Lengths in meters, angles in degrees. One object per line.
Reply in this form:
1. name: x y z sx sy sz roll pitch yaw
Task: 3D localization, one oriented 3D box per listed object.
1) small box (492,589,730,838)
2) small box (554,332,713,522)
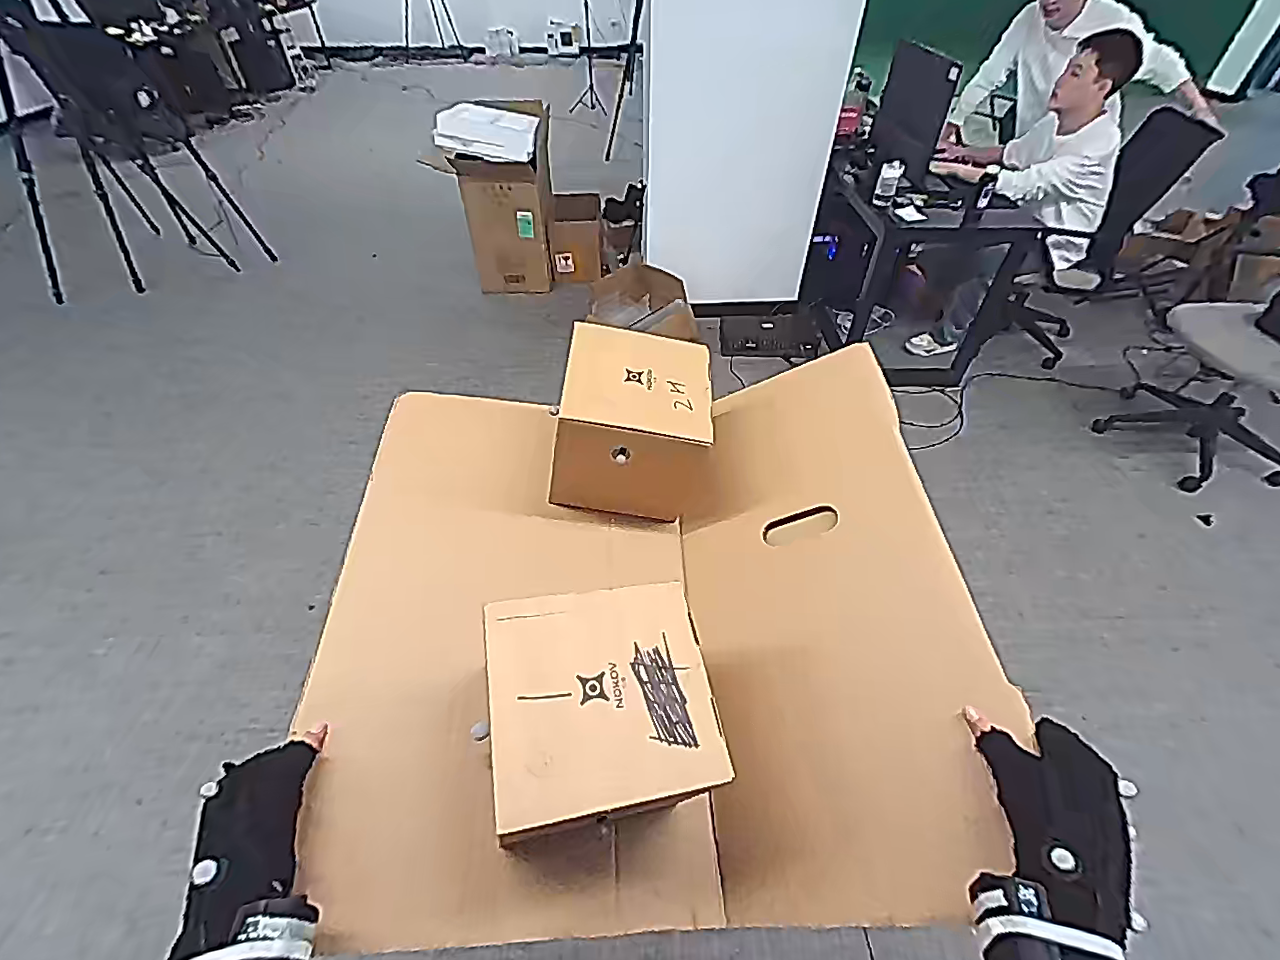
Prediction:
1. small box: -0.043 0.215 0.497 0.179 0.176 0.168 -3 56 -15
2. small box: -0.012 -0.063 0.708 0.179 0.176 0.168 10 53 -8
